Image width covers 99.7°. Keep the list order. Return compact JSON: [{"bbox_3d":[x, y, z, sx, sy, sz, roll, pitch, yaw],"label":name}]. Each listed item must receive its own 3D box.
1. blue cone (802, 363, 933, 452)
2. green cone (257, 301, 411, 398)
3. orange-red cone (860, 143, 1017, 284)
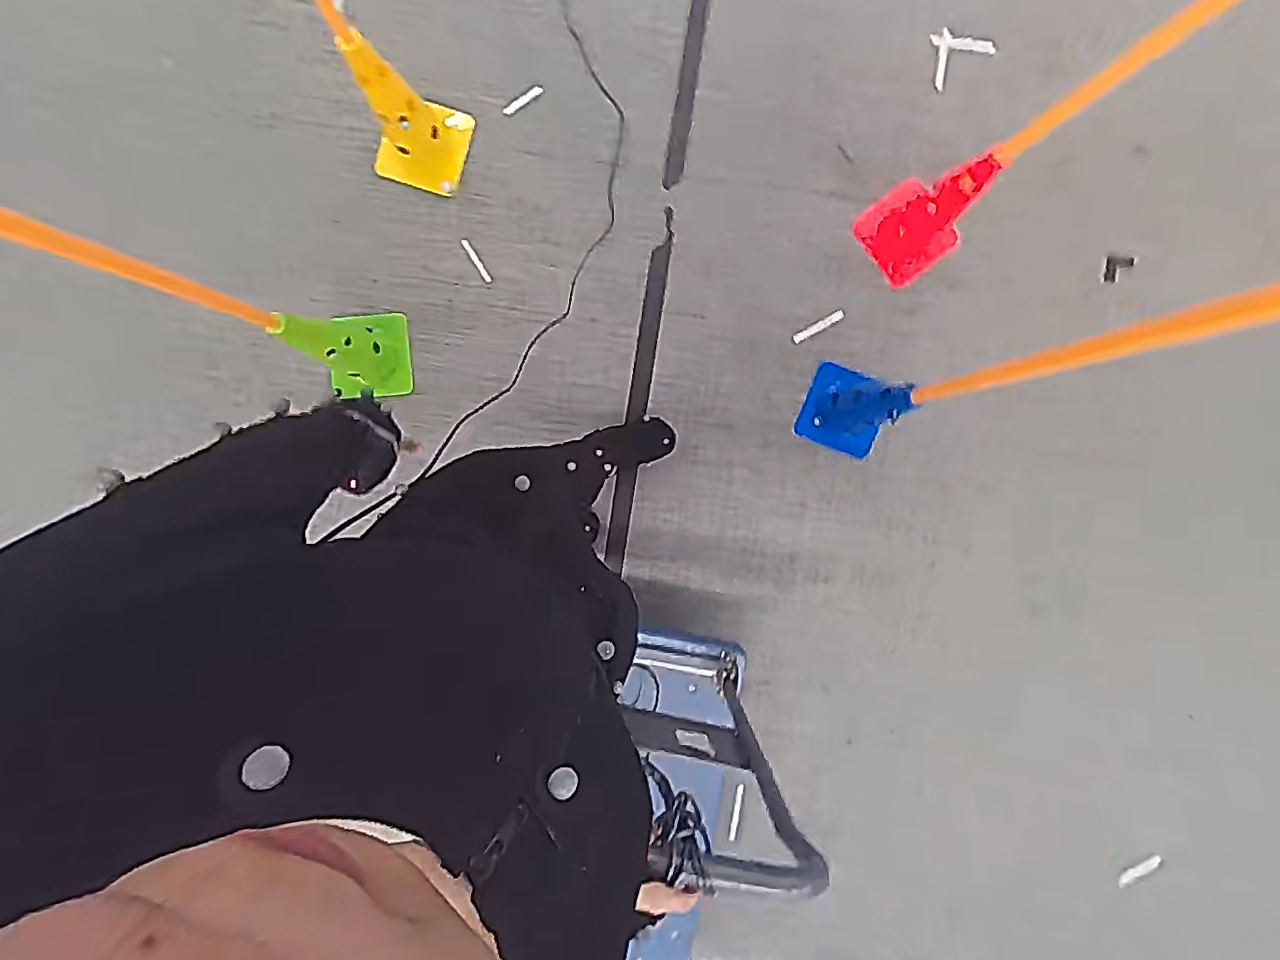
[{"bbox_3d":[0.513,-0.171,1.172,0.193,0.380,0.192,24,92,-1],"label":"blue cone"},{"bbox_3d":[-0.661,-0.301,1.143,0.200,0.368,0.202,-5,92,0],"label":"green cone"},{"bbox_3d":[0.656,-0.590,1.137,0.199,0.360,0.198,-36,92,3],"label":"orange-red cone"}]
